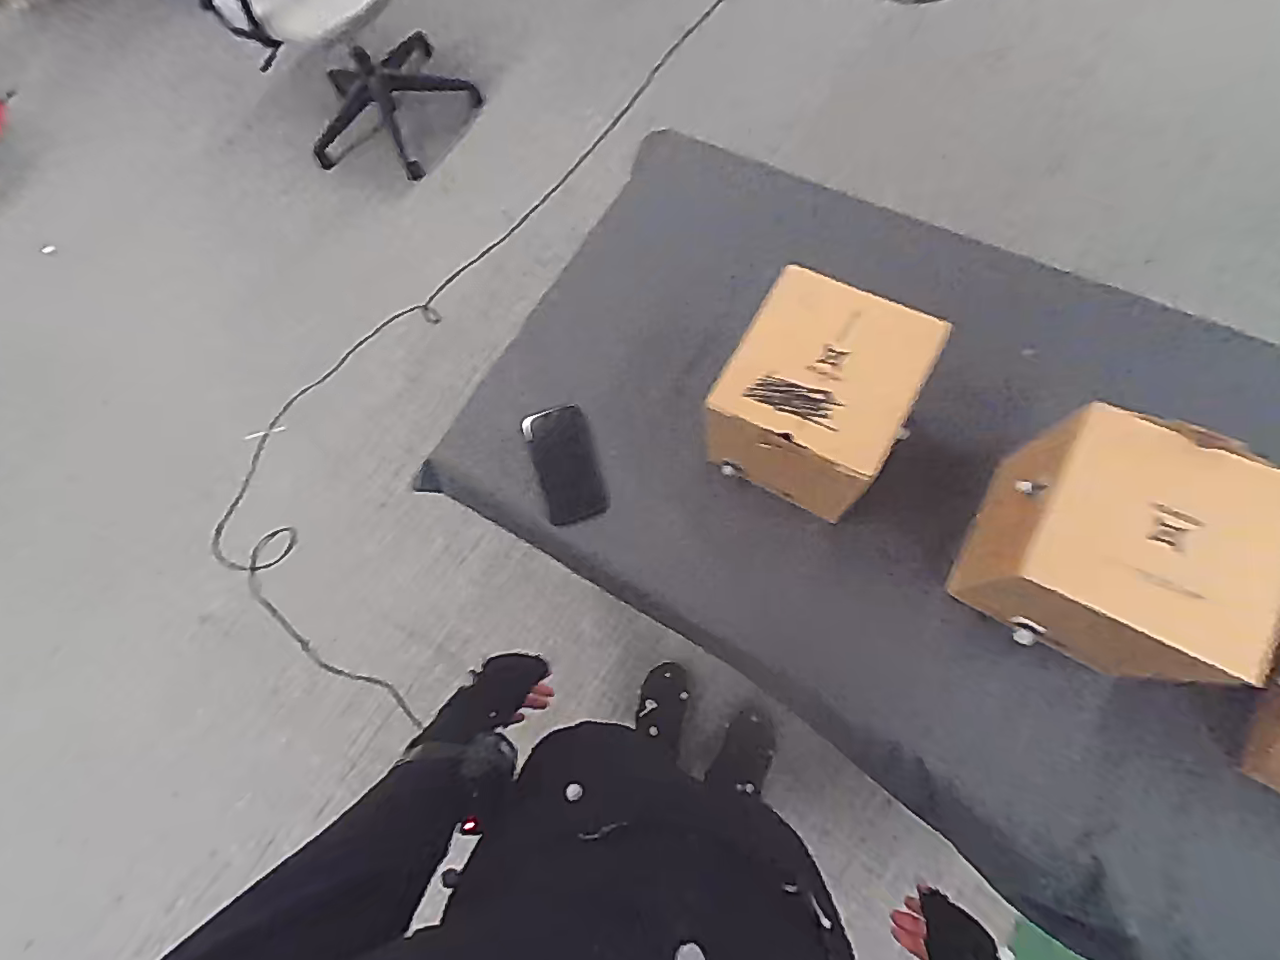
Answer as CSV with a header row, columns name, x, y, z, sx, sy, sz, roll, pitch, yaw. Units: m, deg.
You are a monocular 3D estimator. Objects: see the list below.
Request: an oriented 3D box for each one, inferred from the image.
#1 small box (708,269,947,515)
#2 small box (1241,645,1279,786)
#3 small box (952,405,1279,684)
name,x,y,z,sx,sy,sz,roll,pitch,yaw
small box,0.189,-0.083,0.588,0.168,0.176,0.179,28,78,15
small box,0.657,0.215,0.427,0.168,0.176,0.179,31,80,15
small box,0.431,0.065,0.509,0.168,0.176,0.179,27,80,16
